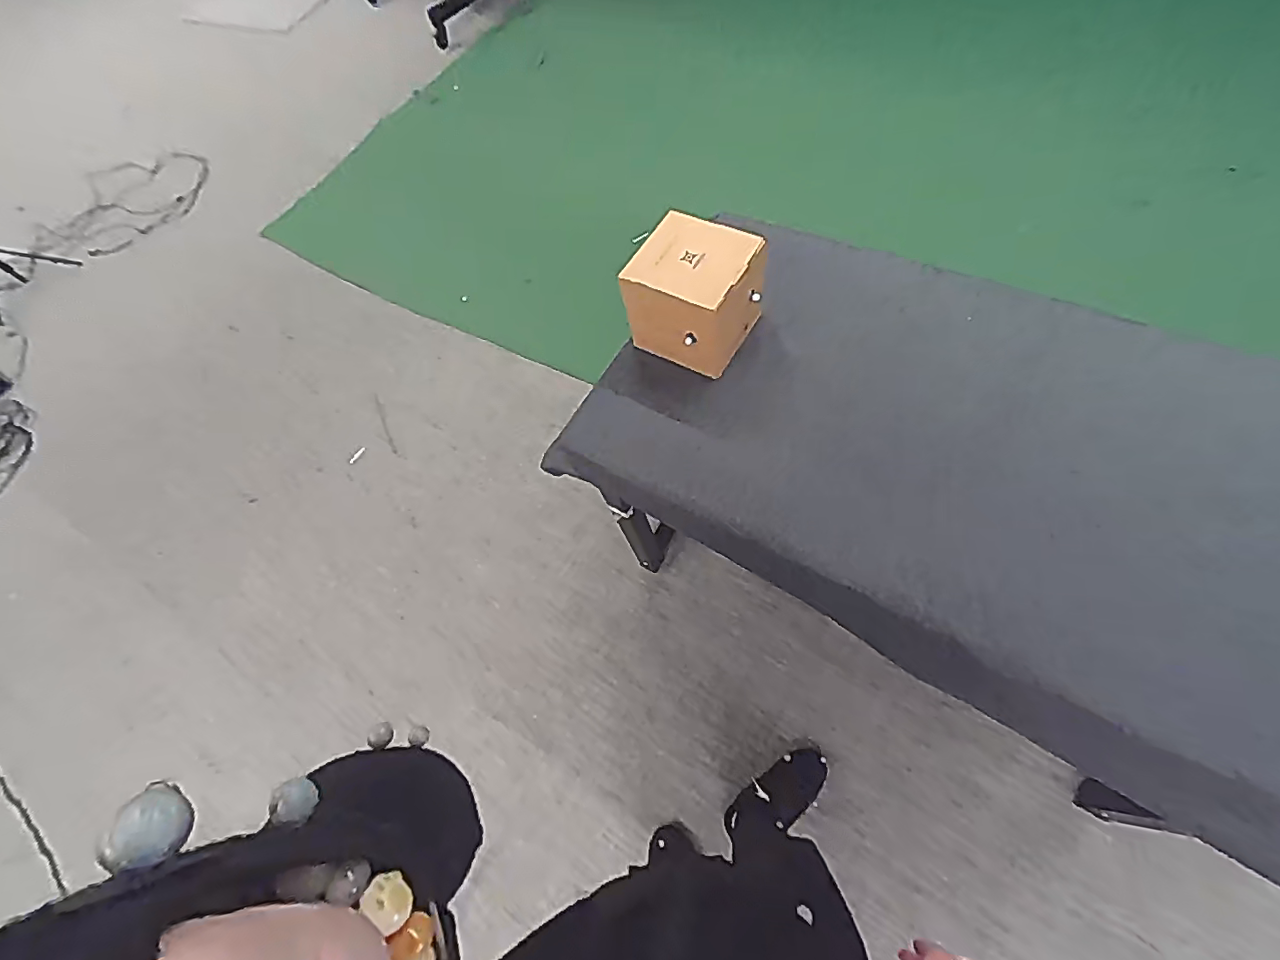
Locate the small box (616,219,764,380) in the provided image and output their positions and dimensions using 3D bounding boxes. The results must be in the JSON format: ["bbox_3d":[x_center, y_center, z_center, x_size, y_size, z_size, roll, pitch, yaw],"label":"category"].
[{"bbox_3d":[0.088,-0.295,0.908,0.179,0.176,0.168,29,69,22],"label":"small box"}]
